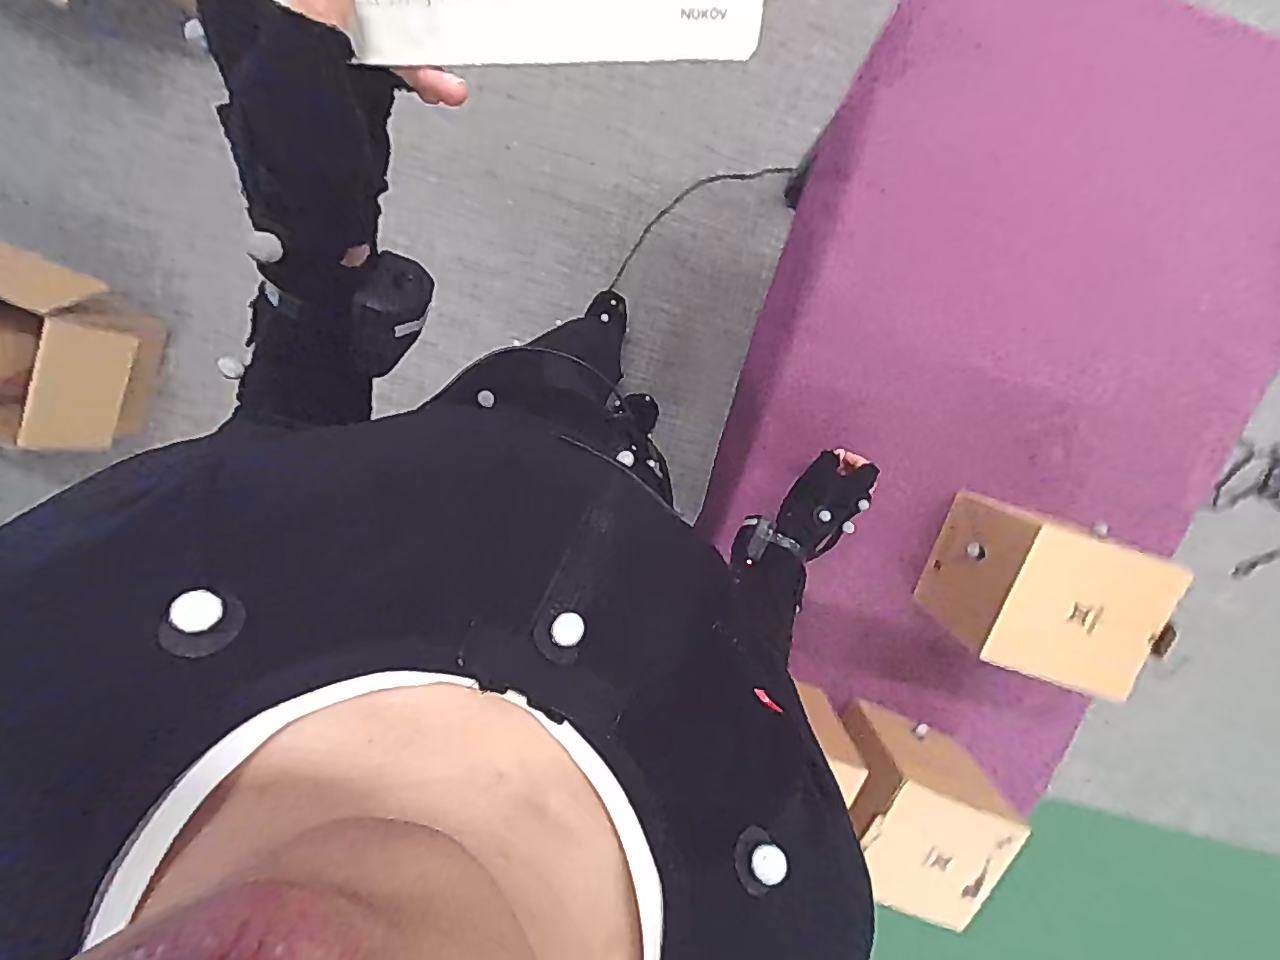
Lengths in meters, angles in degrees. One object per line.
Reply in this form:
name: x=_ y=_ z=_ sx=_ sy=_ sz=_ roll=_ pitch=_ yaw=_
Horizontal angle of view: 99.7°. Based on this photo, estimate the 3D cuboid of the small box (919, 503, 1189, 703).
small box: x=0.487 y=0.138 z=0.671 sx=0.179 sy=0.176 sz=0.168 roll=17 pitch=101 yaw=-3

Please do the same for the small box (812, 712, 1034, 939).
small box: x=0.360 y=0.448 z=0.730 sx=0.179 sy=0.176 sz=0.168 roll=24 pitch=101 yaw=-3
